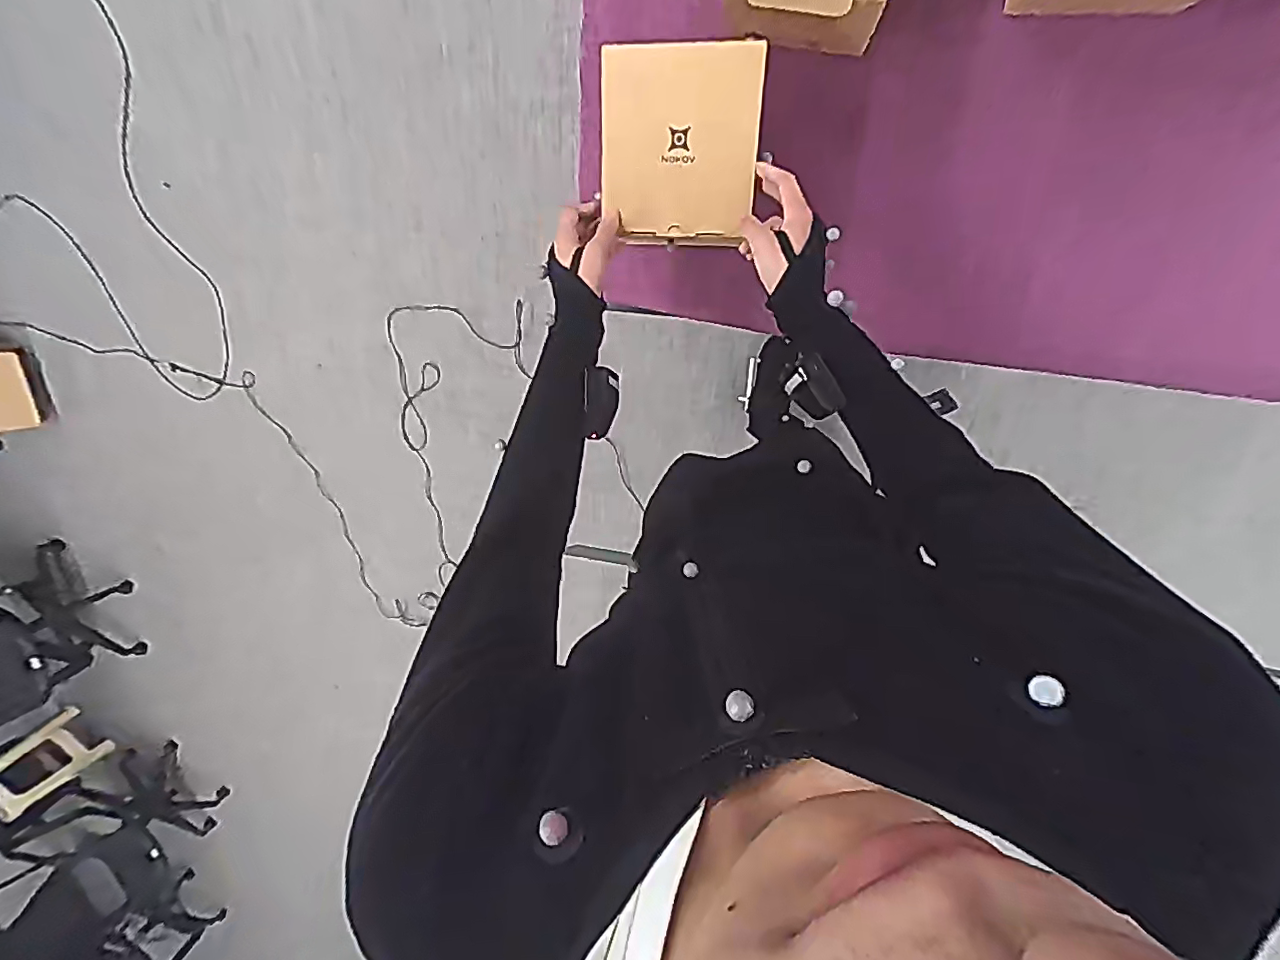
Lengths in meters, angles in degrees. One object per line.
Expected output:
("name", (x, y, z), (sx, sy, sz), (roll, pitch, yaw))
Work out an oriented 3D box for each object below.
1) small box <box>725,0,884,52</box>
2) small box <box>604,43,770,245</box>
("small box", (0.185, -0.572, 0.549), (0.168, 0.176, 0.179), (14, 114, 7))
("small box", (0.052, -0.377, 0.636), (0.168, 0.176, 0.179), (4, 113, 6))
